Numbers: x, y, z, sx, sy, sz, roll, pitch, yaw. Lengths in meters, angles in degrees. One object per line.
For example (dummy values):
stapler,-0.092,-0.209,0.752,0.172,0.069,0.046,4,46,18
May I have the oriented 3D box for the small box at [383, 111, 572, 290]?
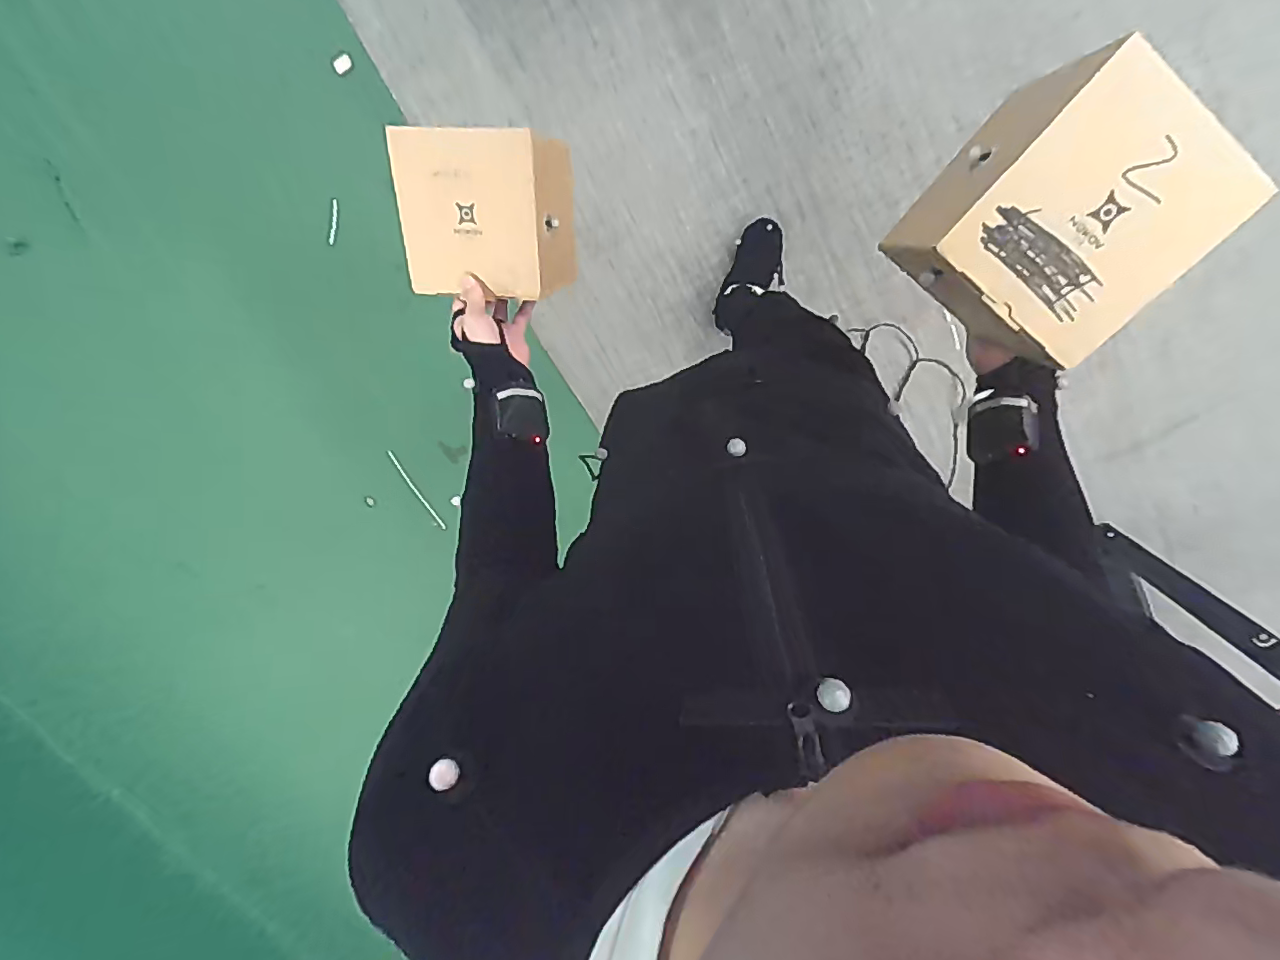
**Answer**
small box,-0.185,-0.347,0.676,0.168,0.176,0.179,6,119,6
